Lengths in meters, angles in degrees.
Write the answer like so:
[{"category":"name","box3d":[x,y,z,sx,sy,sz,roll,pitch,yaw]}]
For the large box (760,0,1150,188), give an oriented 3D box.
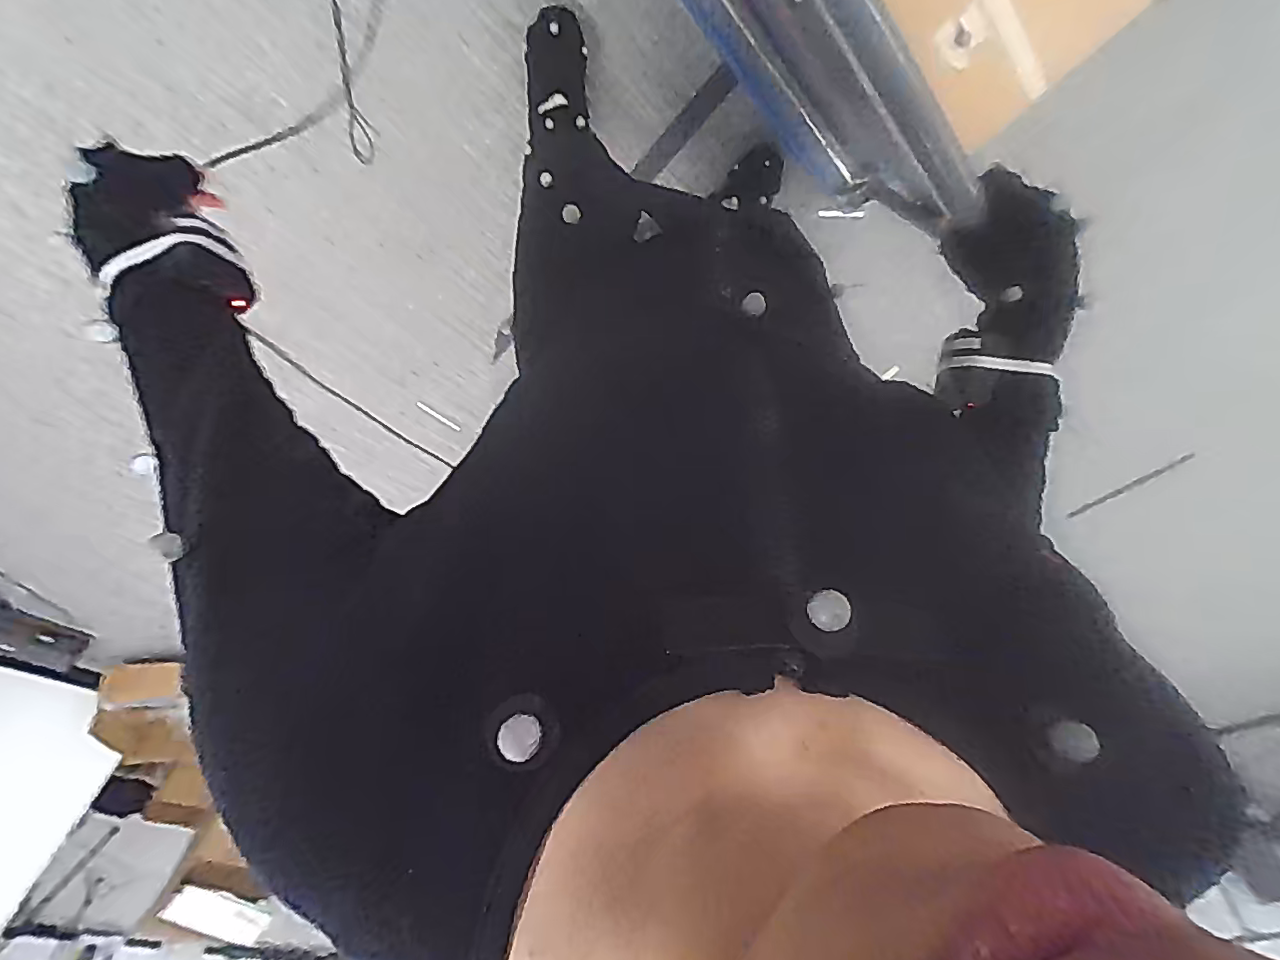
[{"category":"large box","box3d":[0.371,-0.702,0.731,0.408,0.320,0.320,35,124,-29]}]
